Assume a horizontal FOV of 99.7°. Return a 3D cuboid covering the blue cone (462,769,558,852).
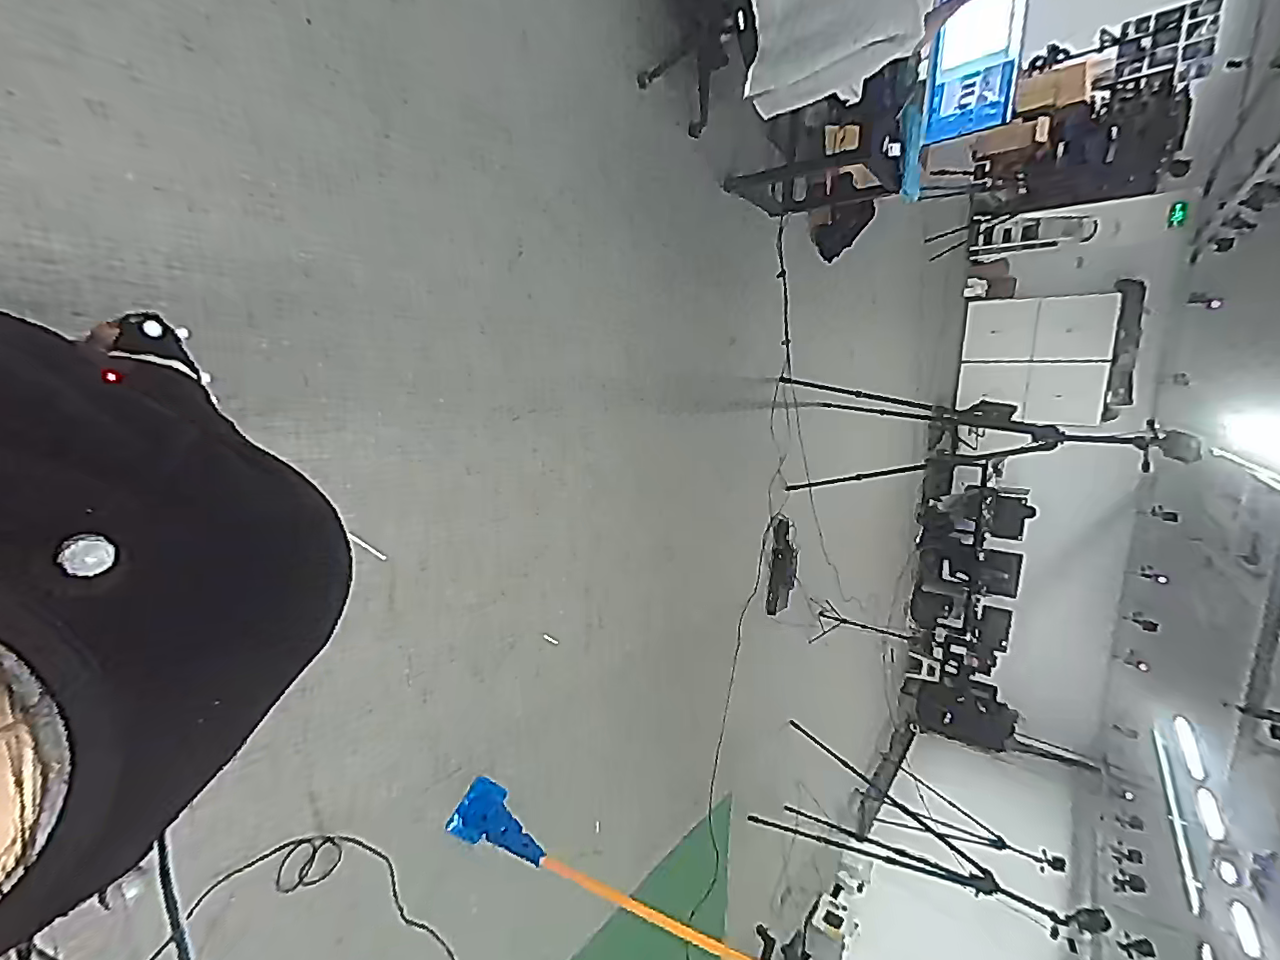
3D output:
[{"bbox_3d":[-0.436,1.202,1.912,0.193,0.380,0.192,-59,136,-29],"label":"blue cone"}]
